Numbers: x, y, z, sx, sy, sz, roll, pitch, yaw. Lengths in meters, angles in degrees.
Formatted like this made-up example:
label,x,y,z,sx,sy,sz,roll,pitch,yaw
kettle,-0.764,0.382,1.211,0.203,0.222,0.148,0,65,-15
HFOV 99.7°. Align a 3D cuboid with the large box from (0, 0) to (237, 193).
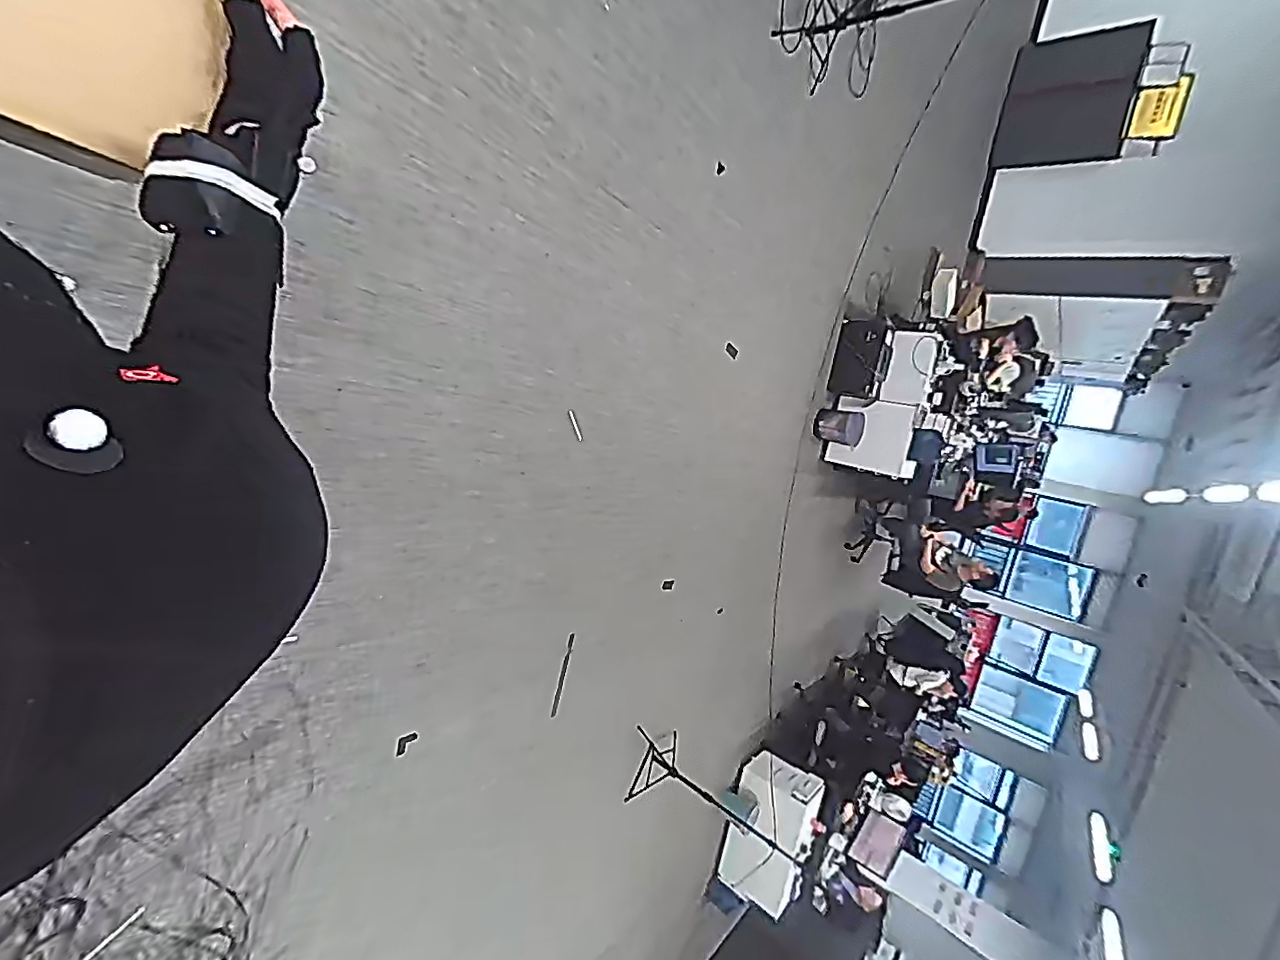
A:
label,x,y,z,sx,sy,sz,roll,pitch,yaw
large box,-0.551,-0.441,0.347,0.408,0.320,0.320,5,107,-58
